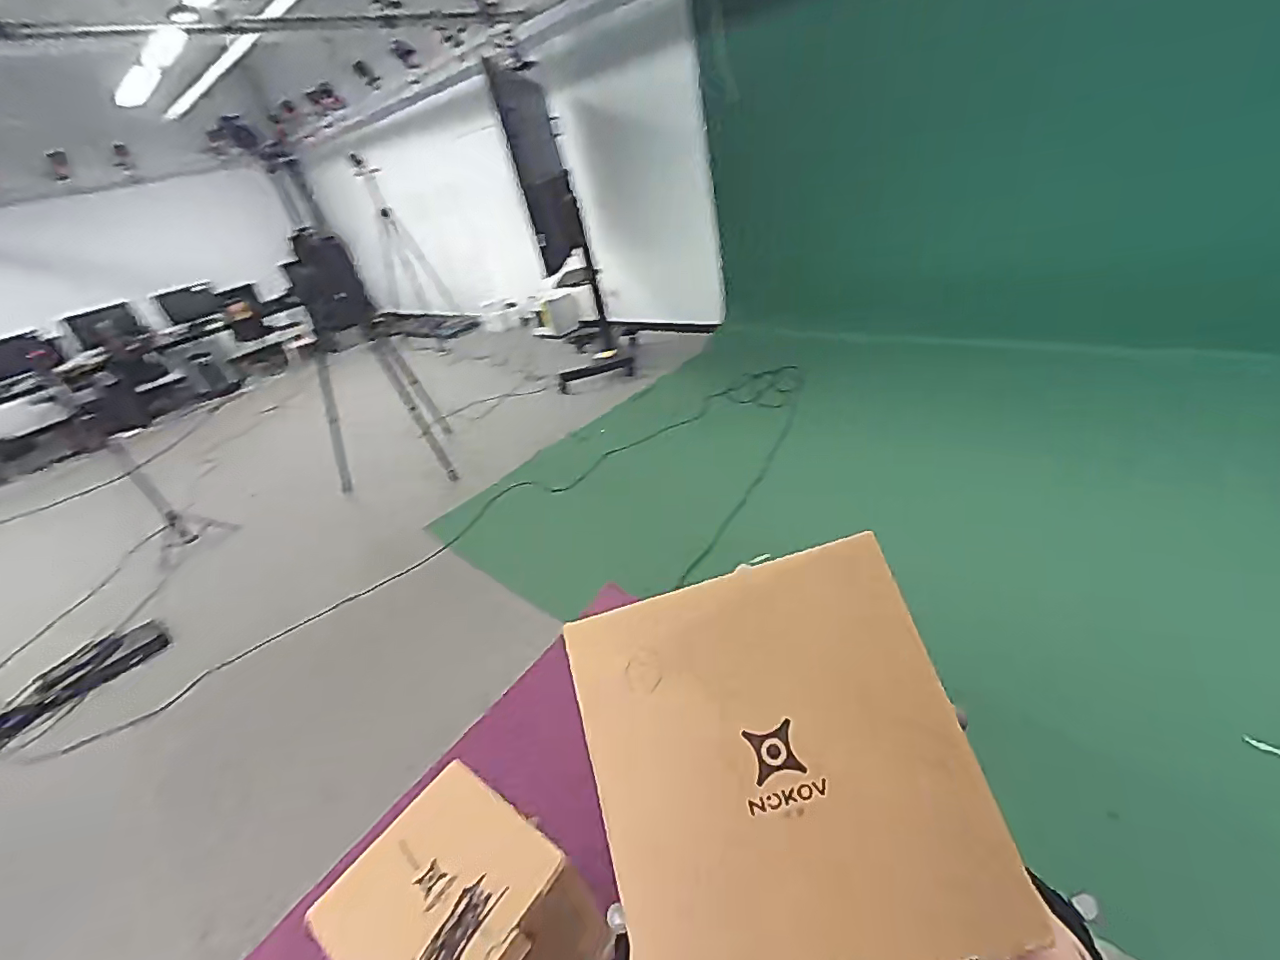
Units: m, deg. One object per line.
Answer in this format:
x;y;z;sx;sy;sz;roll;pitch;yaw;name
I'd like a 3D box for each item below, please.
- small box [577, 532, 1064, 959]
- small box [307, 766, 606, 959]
0.076;0.152;0.316;0.168;0.176;0.179;-18;70;2;small box
-0.158;0.421;0.505;0.179;0.176;0.168;11;39;38;small box
